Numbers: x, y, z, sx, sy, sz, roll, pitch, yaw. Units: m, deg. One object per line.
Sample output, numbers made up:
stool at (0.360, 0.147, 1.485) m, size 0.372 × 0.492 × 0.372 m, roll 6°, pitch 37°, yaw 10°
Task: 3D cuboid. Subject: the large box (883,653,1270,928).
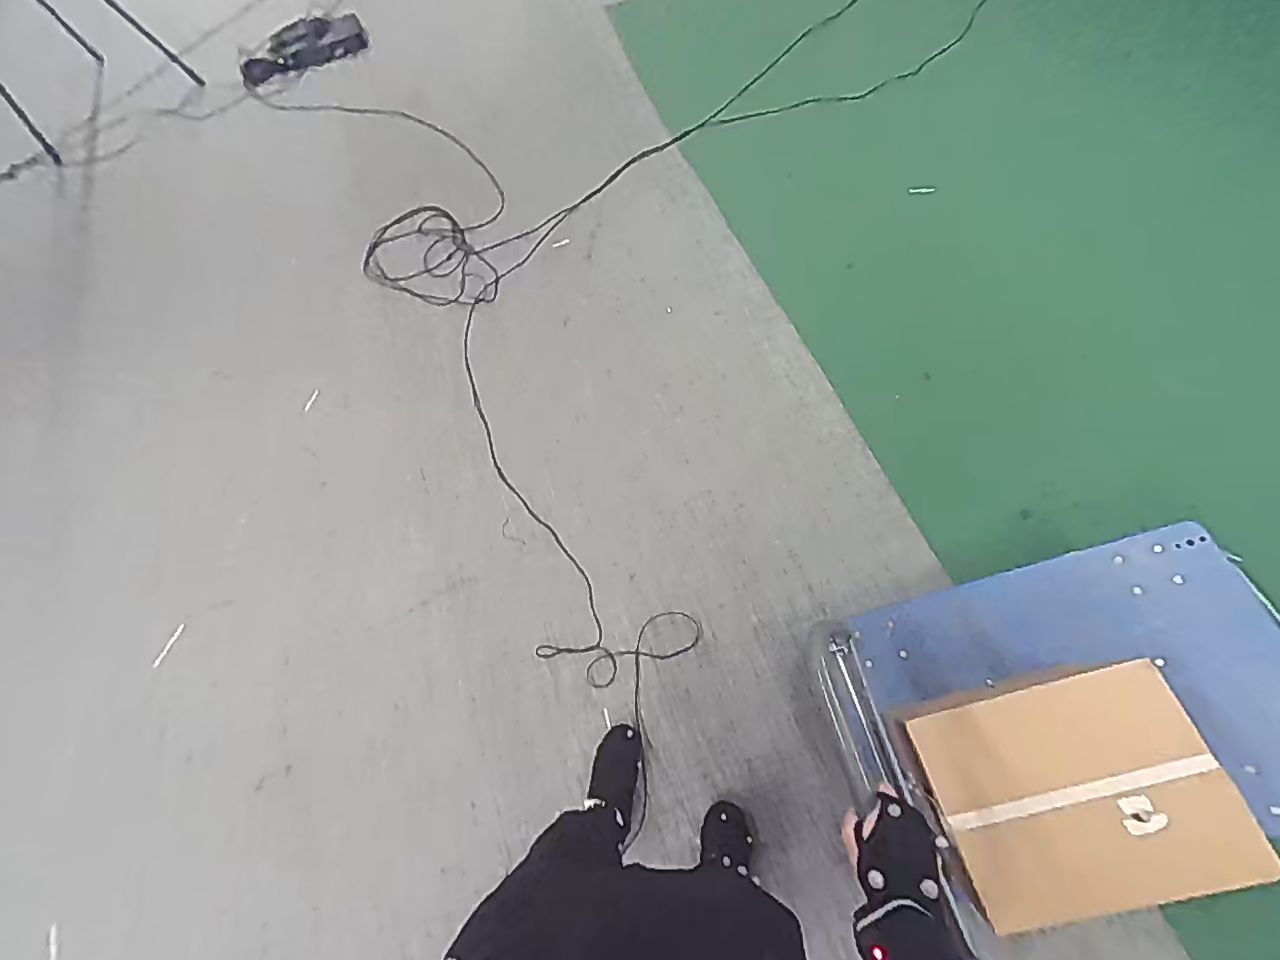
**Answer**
large box at (0.729, 0.543, 1.003) m, size 0.408 × 0.320 × 0.320 m, roll -20°, pitch 66°, yaw 8°
